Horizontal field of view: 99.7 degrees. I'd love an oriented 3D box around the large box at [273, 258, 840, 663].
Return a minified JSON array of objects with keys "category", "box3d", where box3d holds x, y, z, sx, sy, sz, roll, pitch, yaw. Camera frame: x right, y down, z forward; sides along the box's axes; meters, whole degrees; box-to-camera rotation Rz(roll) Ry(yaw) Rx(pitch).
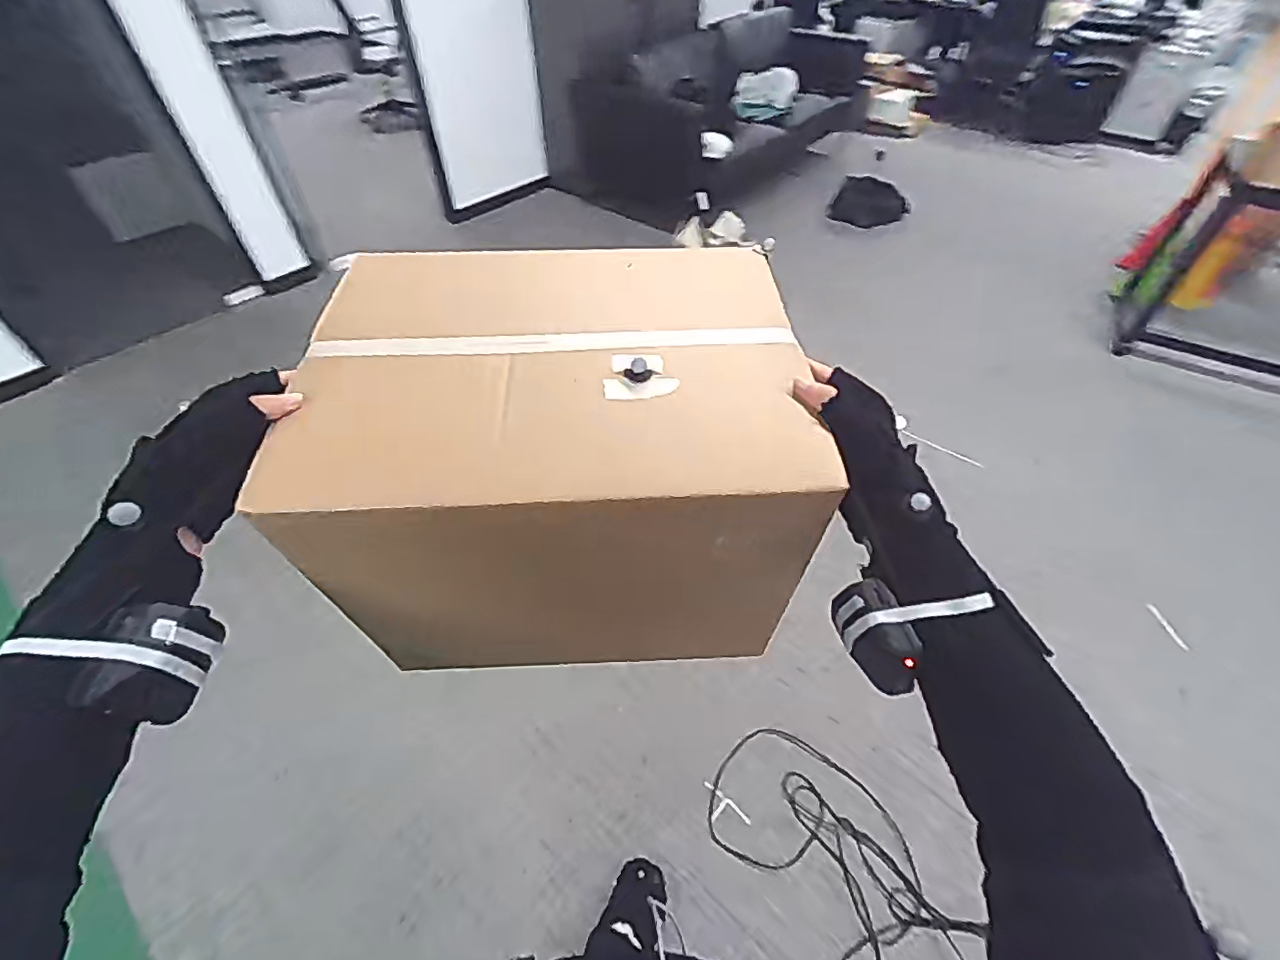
[{"category":"large box","box3d":[-0.064,-0.014,0.582,0.408,0.320,0.320,-2,53,-2]}]
